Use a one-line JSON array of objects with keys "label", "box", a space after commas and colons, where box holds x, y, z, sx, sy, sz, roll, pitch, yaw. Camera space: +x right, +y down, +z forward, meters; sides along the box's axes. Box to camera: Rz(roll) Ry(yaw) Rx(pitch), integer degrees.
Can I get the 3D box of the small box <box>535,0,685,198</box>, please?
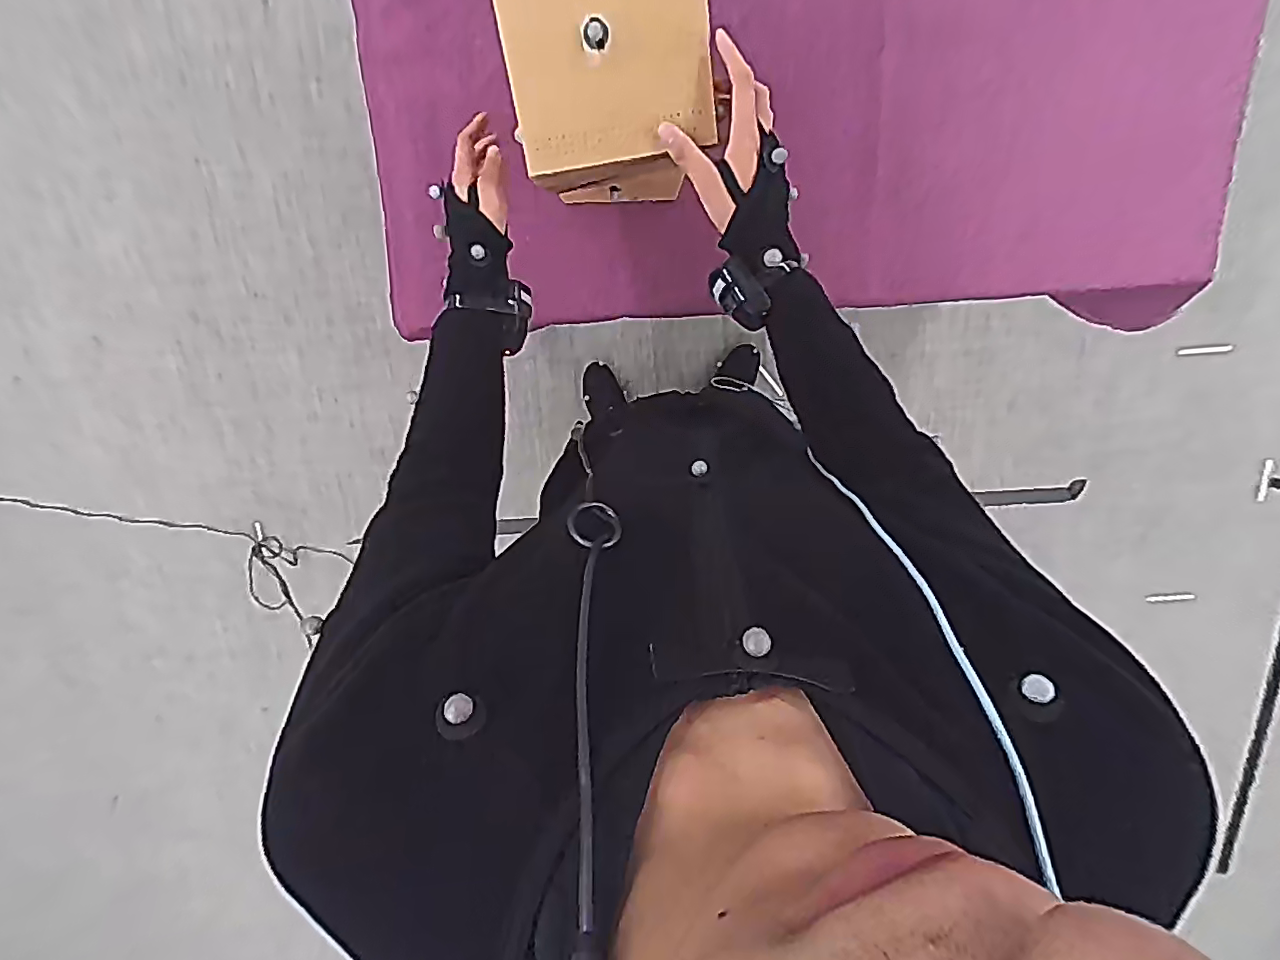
[{"label": "small box", "box": [-0.033, -0.466, 0.683, 0.168, 0.176, 0.179, -2, 105, -1]}]
